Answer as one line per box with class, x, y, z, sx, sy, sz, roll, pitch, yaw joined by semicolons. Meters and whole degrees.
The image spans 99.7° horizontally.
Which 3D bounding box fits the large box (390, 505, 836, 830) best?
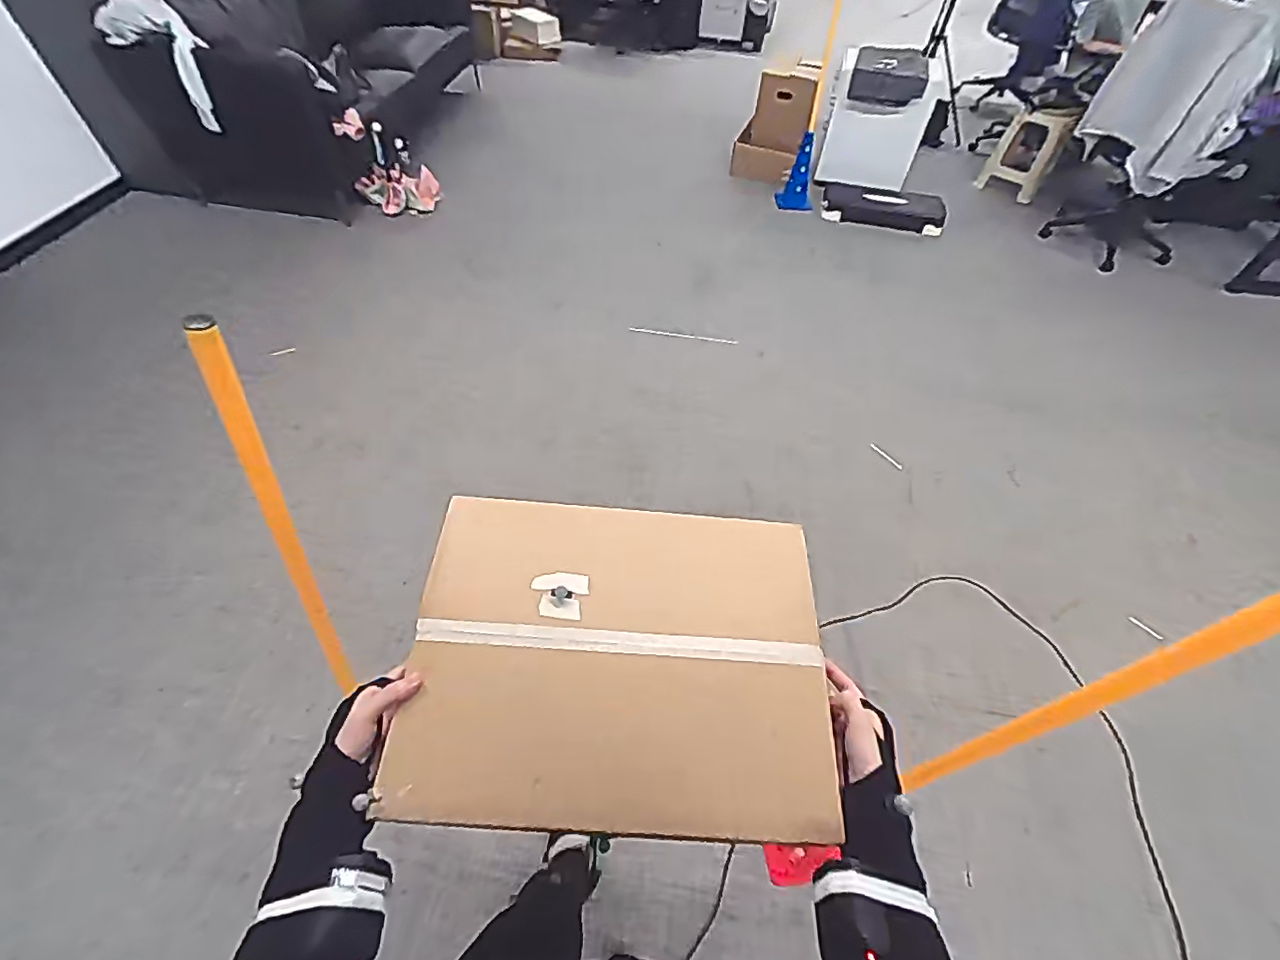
large box;-0.023;0.248;0.680;0.408;0.320;0.320;4;56;-2
